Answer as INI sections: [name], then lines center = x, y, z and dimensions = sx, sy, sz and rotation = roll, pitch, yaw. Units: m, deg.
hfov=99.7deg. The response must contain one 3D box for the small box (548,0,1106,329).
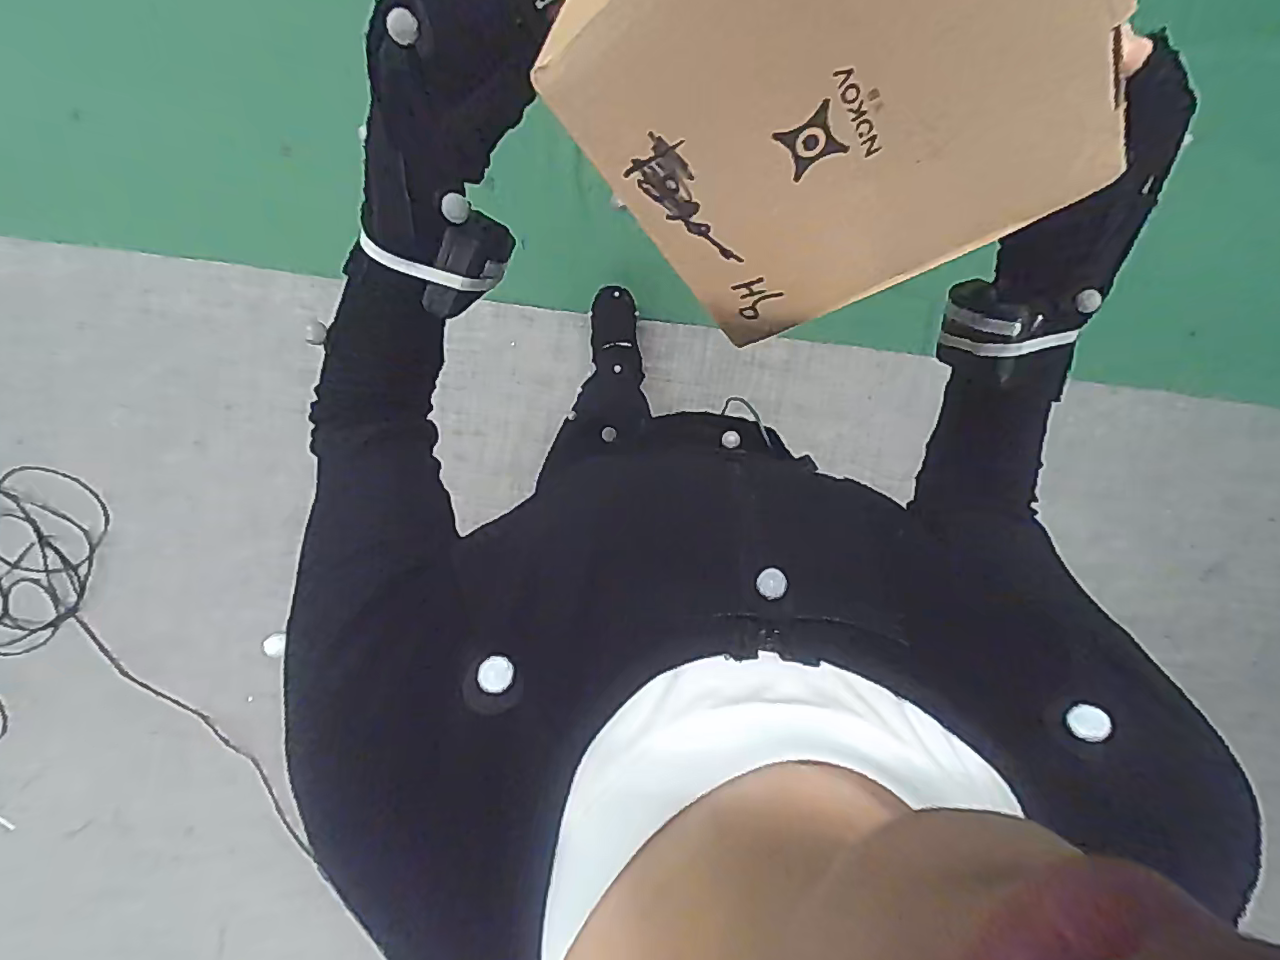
[small box]
center = 0.082, -0.216, 0.263
dimensions = 0.179, 0.176, 0.168
rotation = -19, 139, 32
